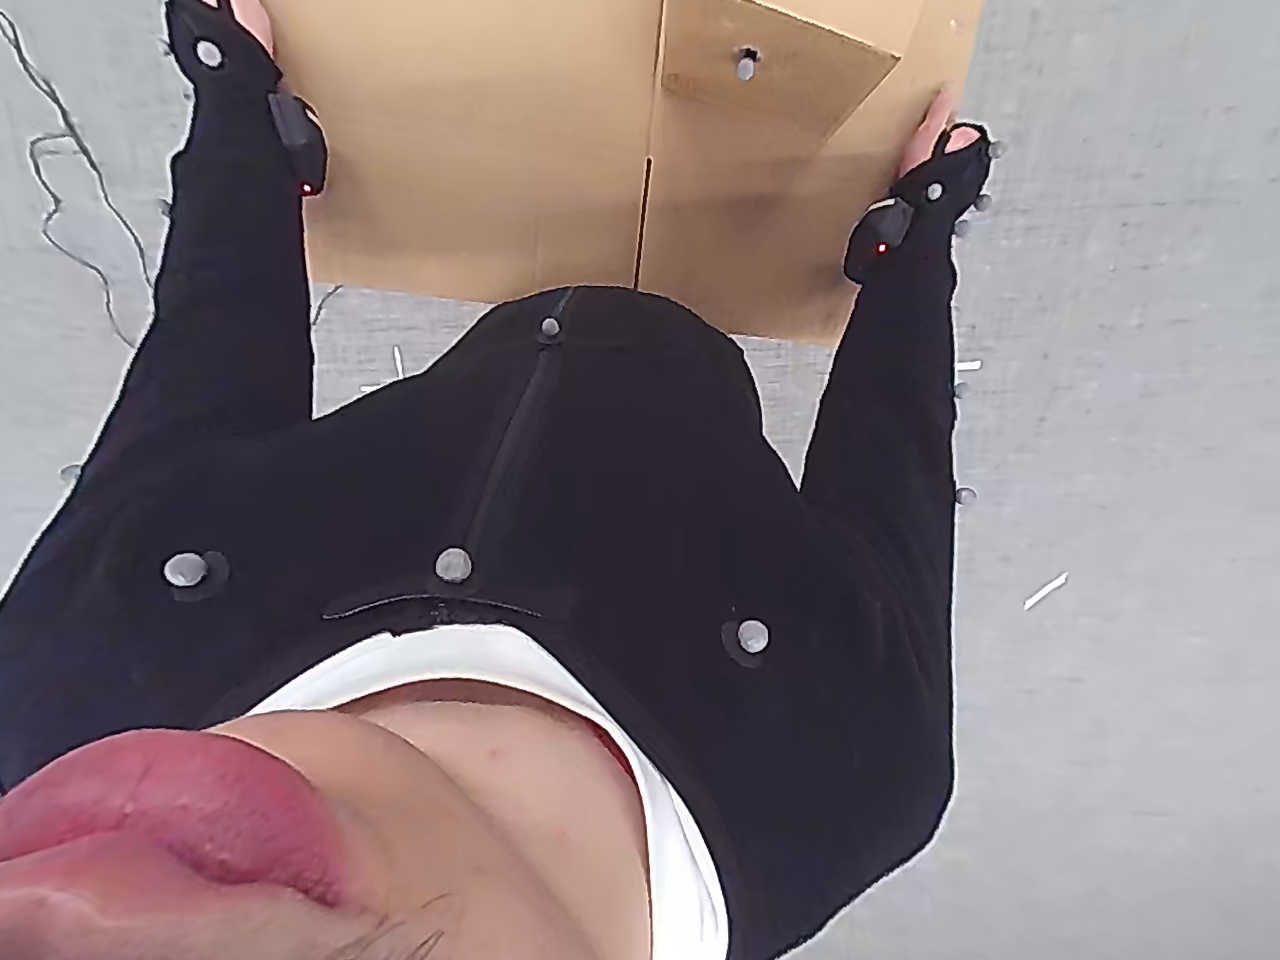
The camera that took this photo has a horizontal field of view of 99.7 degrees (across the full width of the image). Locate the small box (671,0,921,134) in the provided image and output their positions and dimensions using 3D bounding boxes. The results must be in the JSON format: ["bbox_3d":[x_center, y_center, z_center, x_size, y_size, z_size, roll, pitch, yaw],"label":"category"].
[{"bbox_3d":[0.130,-0.421,0.444,0.179,0.176,0.168,17,104,-3],"label":"small box"}]
